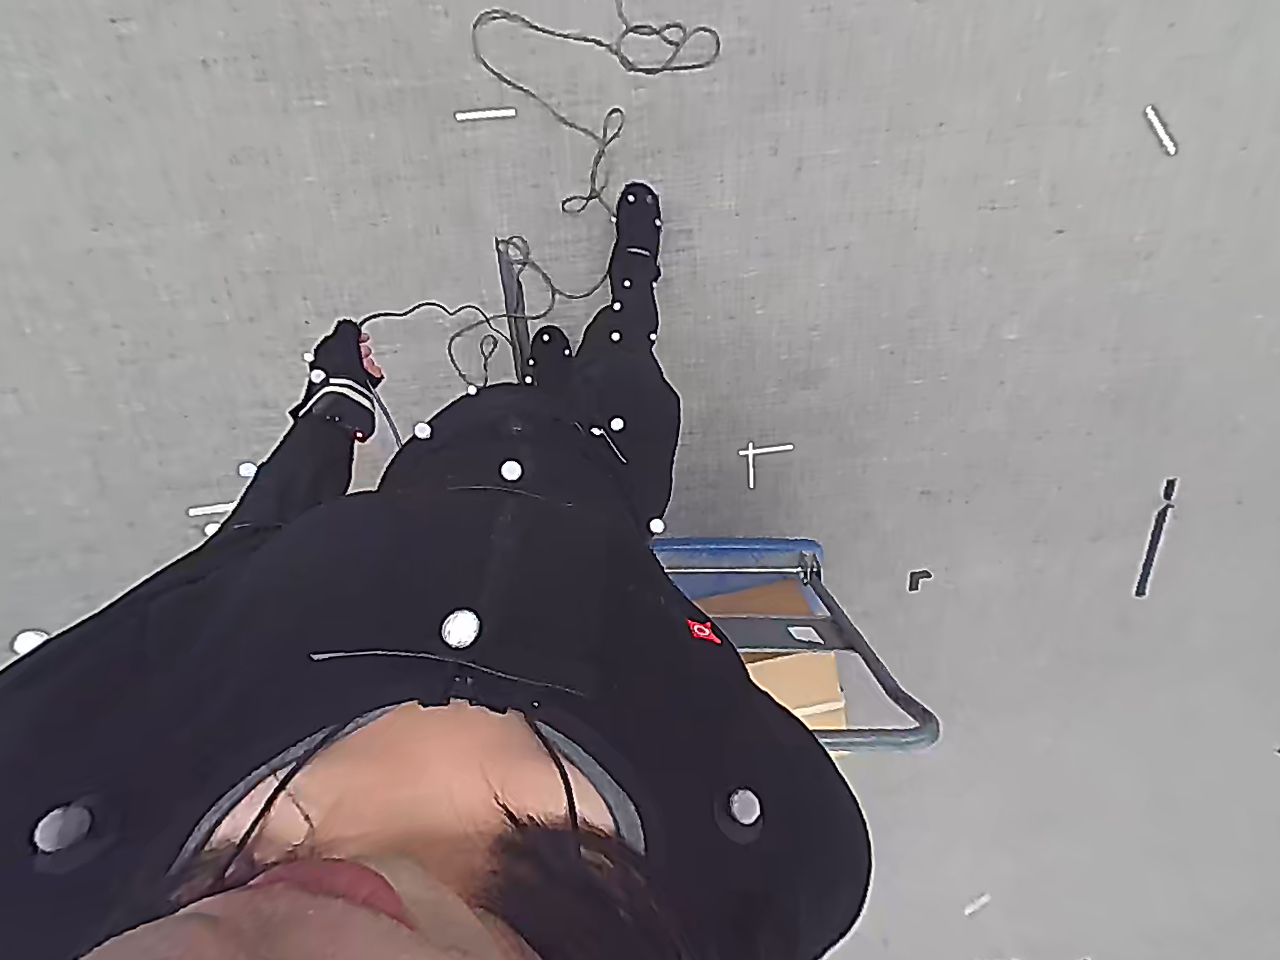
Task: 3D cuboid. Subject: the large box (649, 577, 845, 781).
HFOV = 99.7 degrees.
[{"bbox_3d":[0.254,0.489,1.376,0.408,0.320,0.320,-14,107,4],"label":"large box"}]
